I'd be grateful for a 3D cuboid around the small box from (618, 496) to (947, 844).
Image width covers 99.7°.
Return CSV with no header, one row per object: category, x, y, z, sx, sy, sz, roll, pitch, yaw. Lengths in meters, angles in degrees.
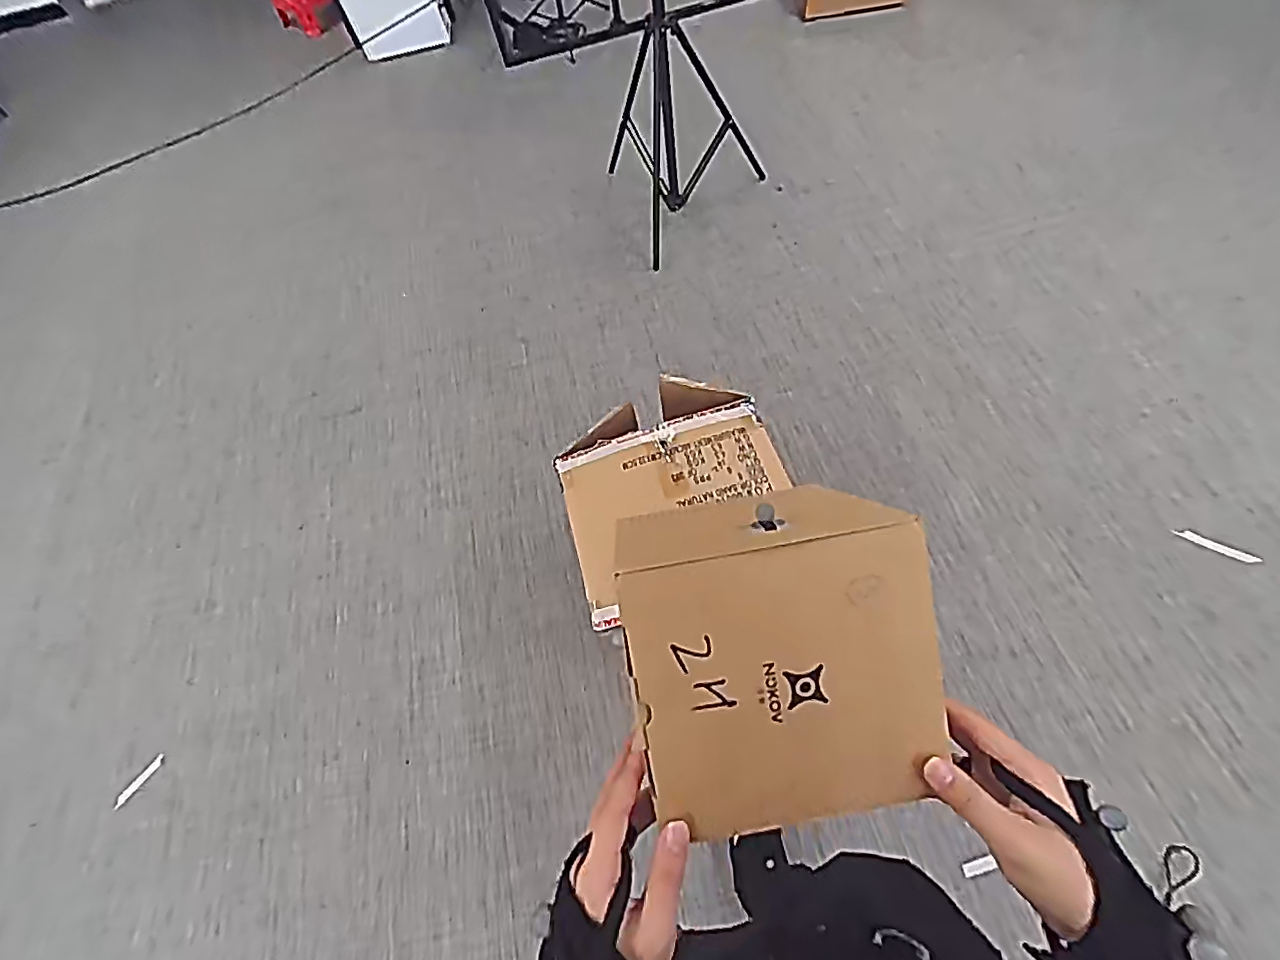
small box,0.082,0.112,0.390,0.179,0.176,0.168,-10,96,-1
